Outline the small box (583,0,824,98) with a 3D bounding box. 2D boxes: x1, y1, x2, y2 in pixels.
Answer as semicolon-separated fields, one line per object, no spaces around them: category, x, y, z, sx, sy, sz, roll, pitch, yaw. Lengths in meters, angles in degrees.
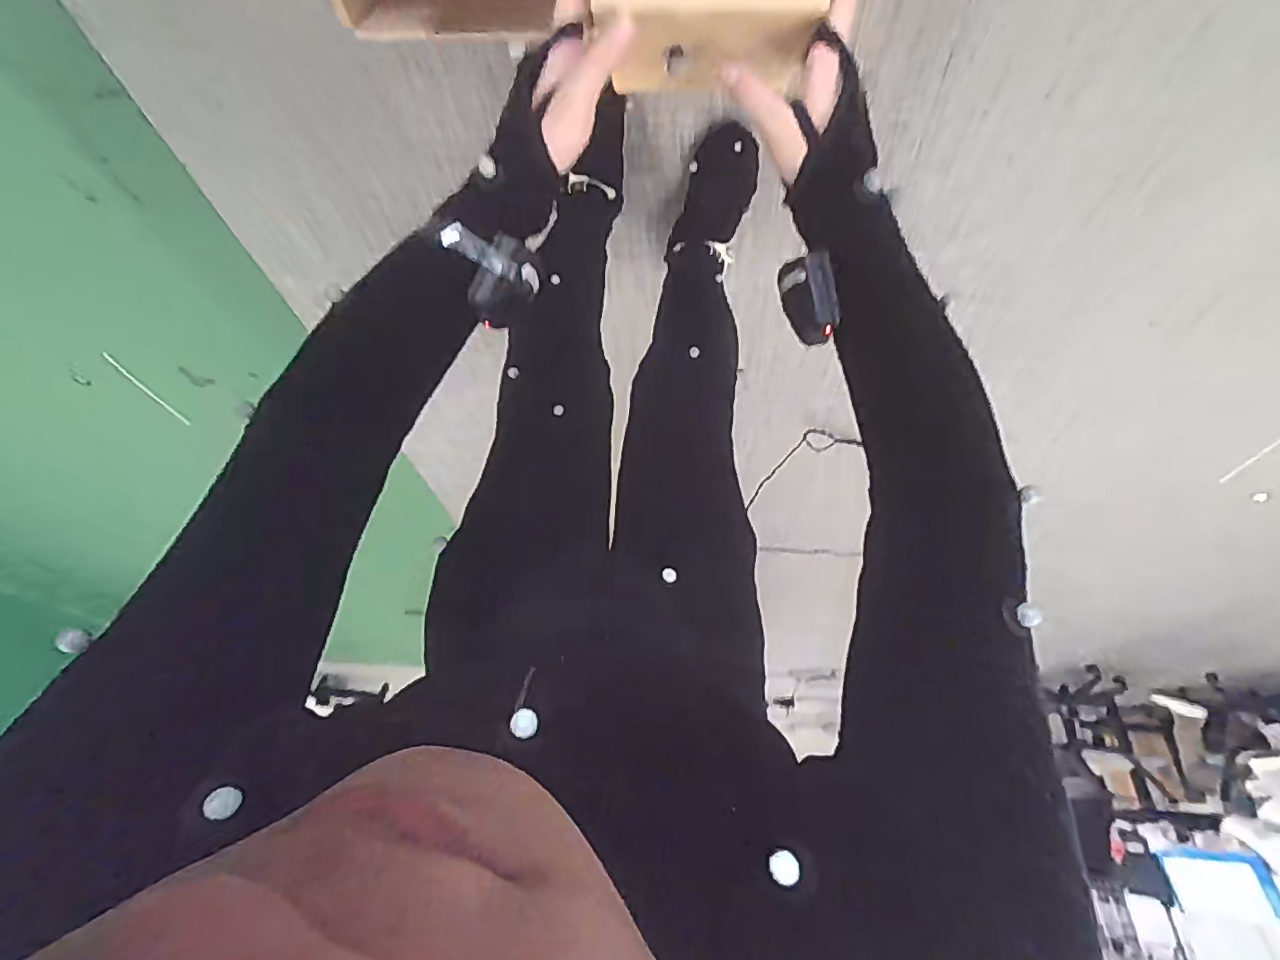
small box;0.050;-0.419;0.415;0.168;0.176;0.179;2;108;3
